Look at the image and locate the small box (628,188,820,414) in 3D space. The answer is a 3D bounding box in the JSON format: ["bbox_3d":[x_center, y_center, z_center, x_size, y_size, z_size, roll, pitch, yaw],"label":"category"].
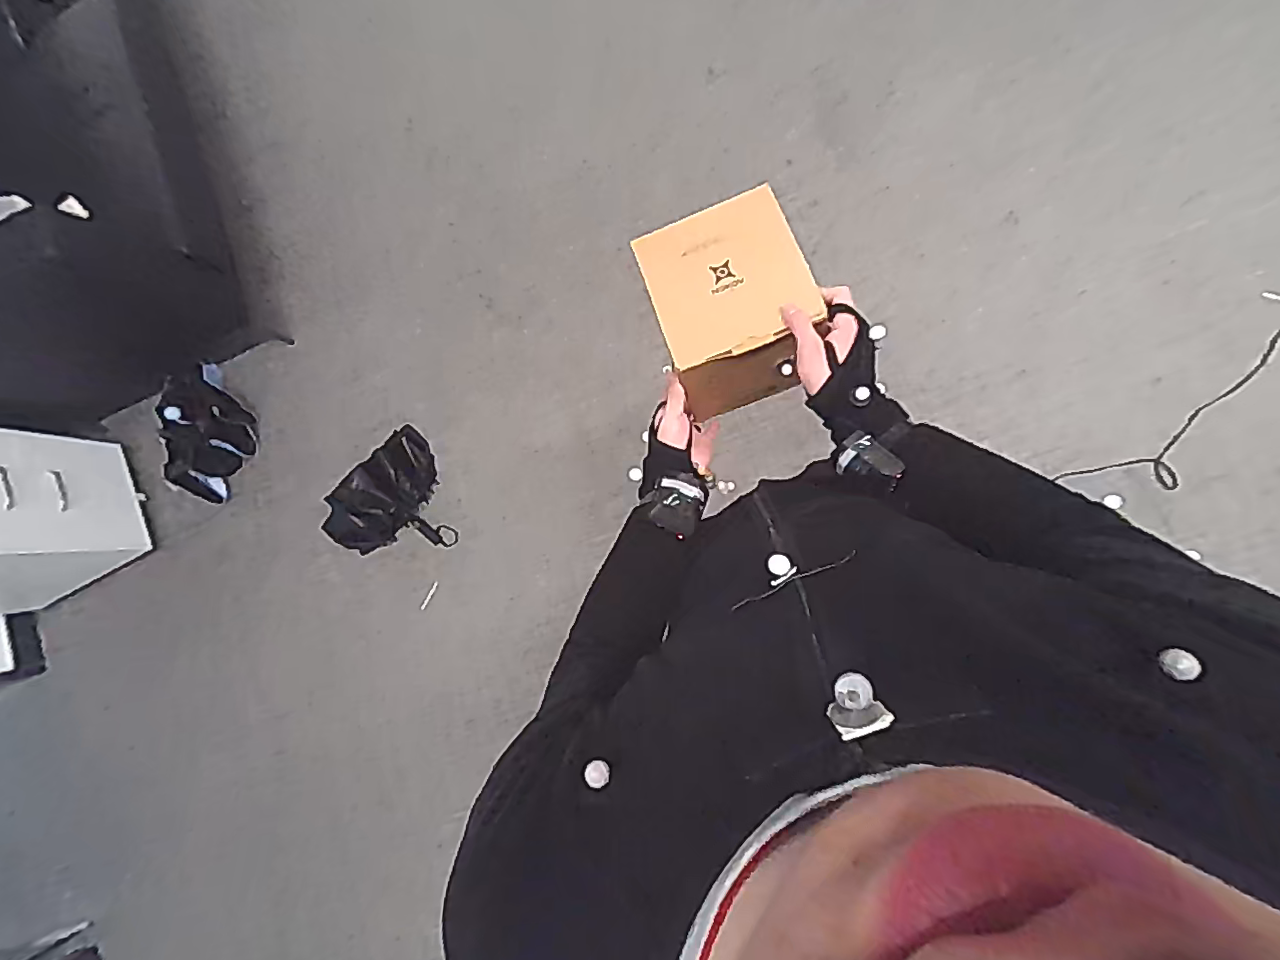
[{"bbox_3d":[0.103,-0.196,0.653,0.168,0.176,0.179,-20,72,8],"label":"small box"}]
